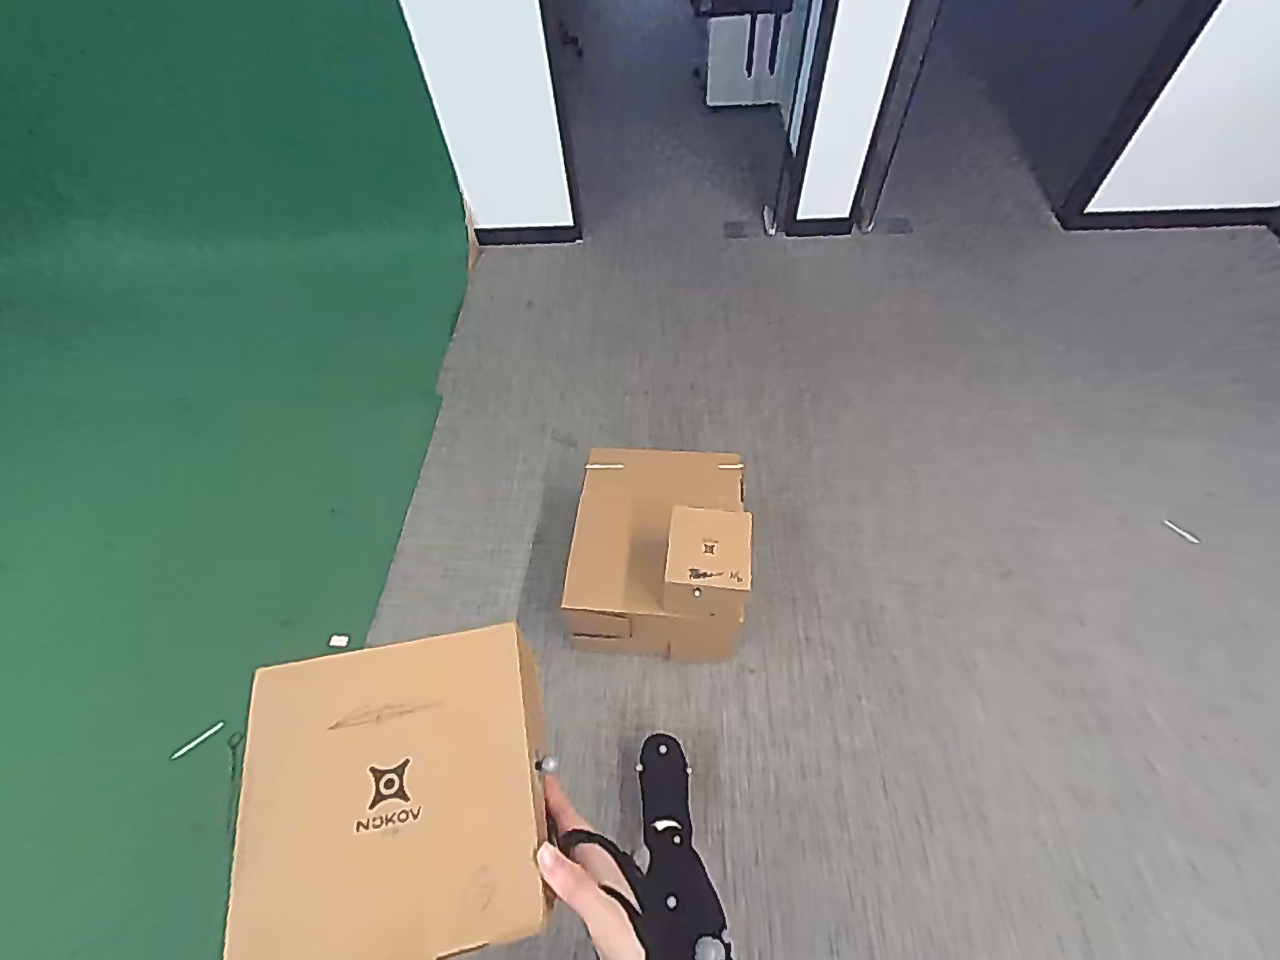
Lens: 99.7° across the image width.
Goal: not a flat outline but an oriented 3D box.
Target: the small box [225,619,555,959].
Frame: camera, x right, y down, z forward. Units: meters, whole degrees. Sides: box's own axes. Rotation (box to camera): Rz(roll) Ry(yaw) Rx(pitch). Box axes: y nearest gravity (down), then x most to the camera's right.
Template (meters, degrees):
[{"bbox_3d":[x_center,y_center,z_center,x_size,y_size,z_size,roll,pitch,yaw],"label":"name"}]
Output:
[{"bbox_3d":[-0.157,0.219,0.397,0.168,0.176,0.179,-7,62,-10],"label":"small box"}]

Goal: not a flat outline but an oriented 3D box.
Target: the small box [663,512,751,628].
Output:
[{"bbox_3d":[0.138,0.190,1.136,0.168,0.176,0.179,5,54,6],"label":"small box"}]
